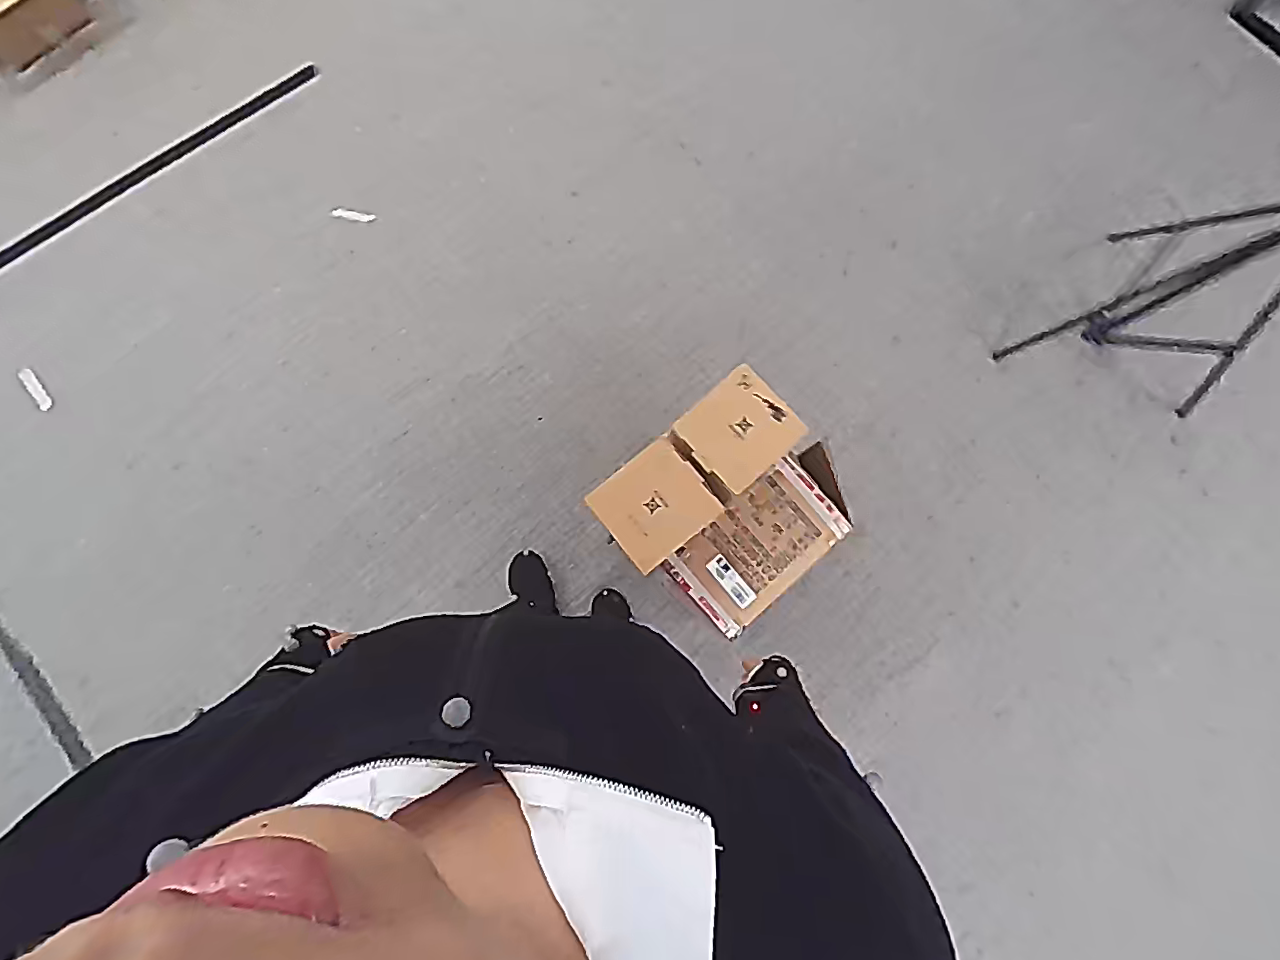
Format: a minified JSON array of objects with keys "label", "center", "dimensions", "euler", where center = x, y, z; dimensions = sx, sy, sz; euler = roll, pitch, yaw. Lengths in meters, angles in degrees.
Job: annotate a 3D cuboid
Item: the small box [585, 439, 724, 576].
[{"label":"small box","center":[0.024,0.055,0.973],"dimensions":[0.179,0.176,0.168],"euler":[-39,81,-5]}]
